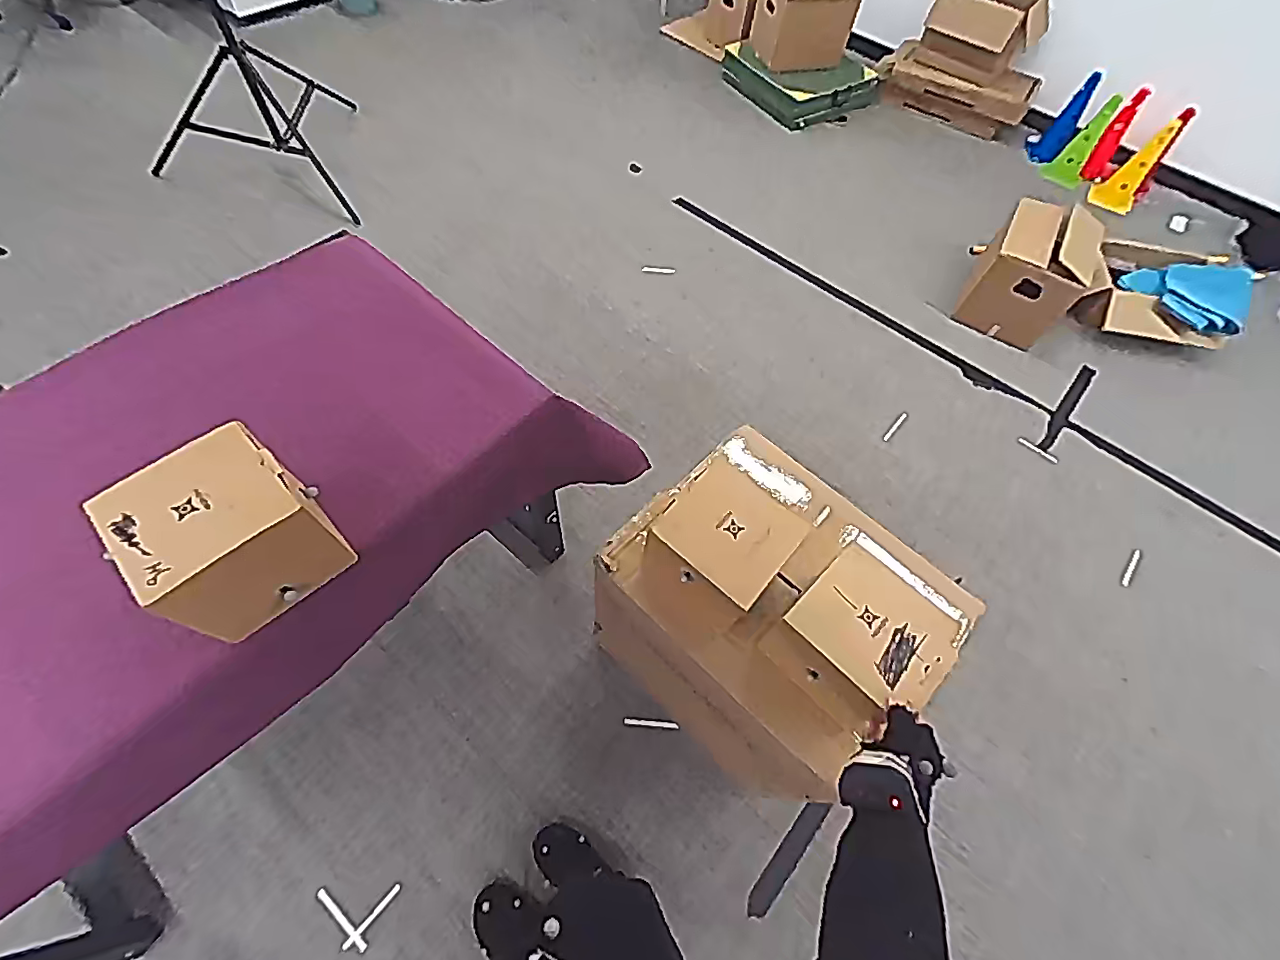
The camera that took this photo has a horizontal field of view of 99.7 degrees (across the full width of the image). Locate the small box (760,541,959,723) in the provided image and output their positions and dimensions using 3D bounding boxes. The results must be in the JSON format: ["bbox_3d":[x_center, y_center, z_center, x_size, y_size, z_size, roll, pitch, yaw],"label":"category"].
[{"bbox_3d":[0.300,0.225,0.778,0.168,0.176,0.179,-40,68,-21],"label":"small box"}]

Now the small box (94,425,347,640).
[{"bbox_3d":[-0.504,0.071,0.684,0.179,0.176,0.168,-39,69,-24],"label":"small box"}]

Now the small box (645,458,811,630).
[{"bbox_3d":[0.123,0.105,0.835,0.179,0.176,0.168,40,67,15],"label":"small box"}]
